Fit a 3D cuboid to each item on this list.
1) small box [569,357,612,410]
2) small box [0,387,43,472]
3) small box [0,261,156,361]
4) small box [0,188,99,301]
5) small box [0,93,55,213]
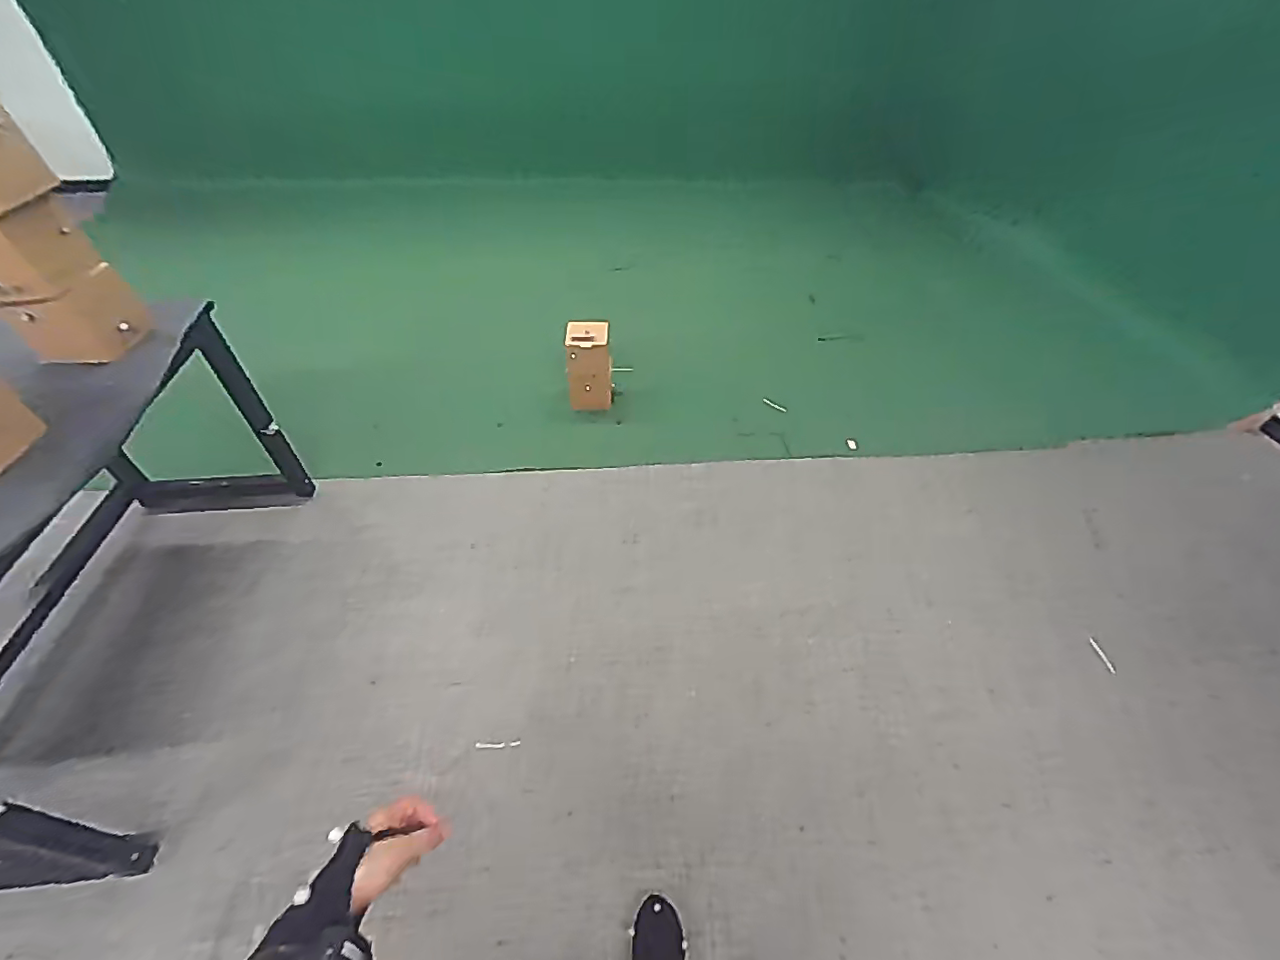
[{"bbox_3d":[-0.209,-0.414,2.335,0.179,0.176,0.168,0,47,-1],"label":"small box"},{"bbox_3d":[-1.279,-0.099,0.983,0.168,0.176,0.179,-2,47,-2],"label":"small box"},{"bbox_3d":[-1.309,-0.392,1.259,0.179,0.176,0.168,0,47,1],"label":"small box"},{"bbox_3d":[-1.311,-0.496,1.134,0.168,0.176,0.179,-7,48,-3],"label":"small box"},{"bbox_3d":[-1.293,-0.620,1.024,0.168,0.176,0.179,-3,47,0],"label":"small box"}]
